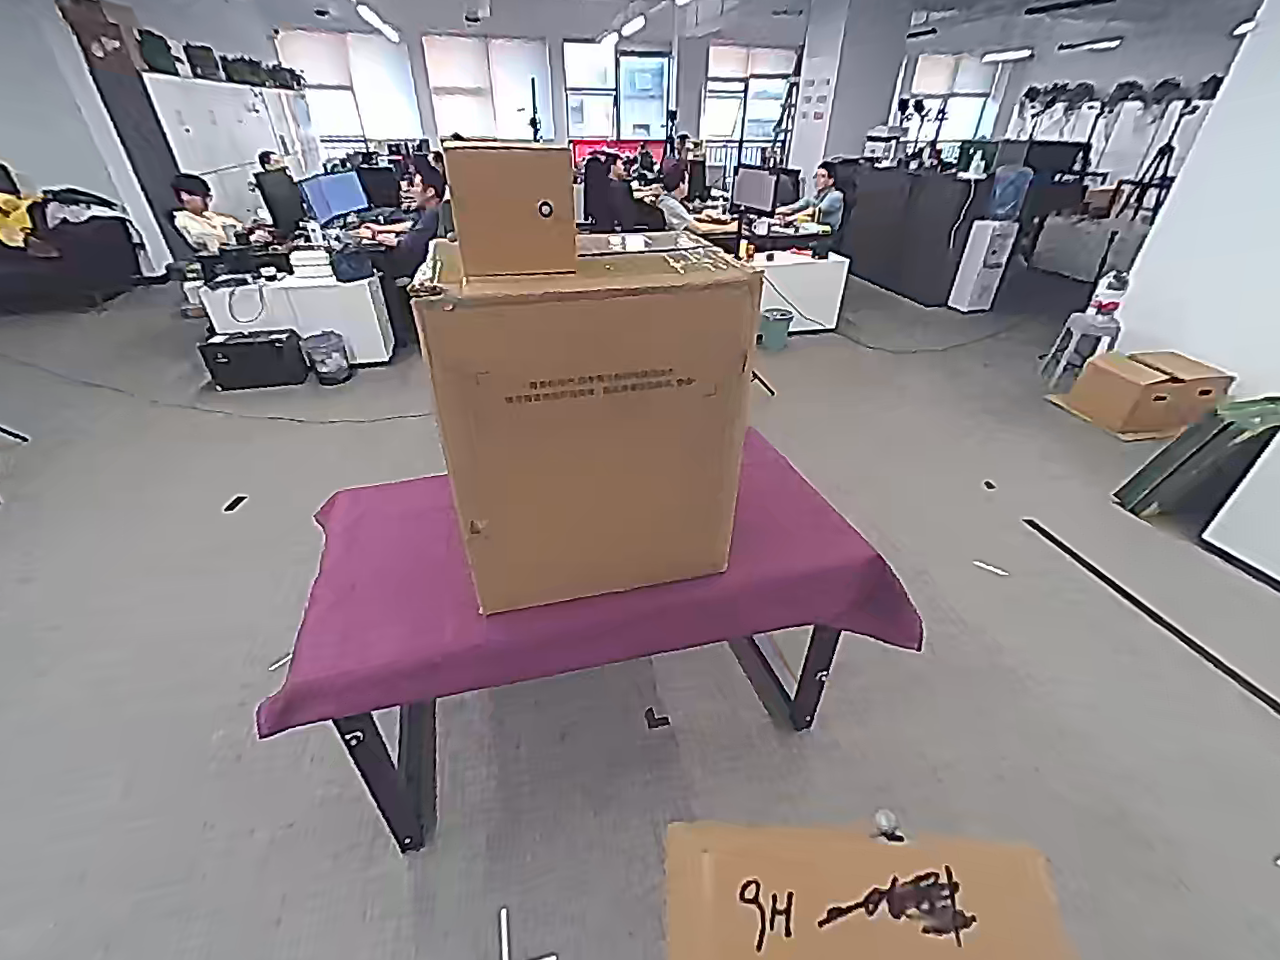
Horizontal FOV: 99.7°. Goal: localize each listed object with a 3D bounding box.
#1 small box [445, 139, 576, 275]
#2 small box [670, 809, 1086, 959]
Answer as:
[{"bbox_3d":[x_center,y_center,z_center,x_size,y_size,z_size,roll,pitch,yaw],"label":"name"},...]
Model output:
[{"bbox_3d":[-0.196,-0.426,0.841,0.179,0.176,0.168,-9,34,-13],"label":"small box"},{"bbox_3d":[0.106,0.278,0.281,0.168,0.176,0.179,2,60,-3],"label":"small box"}]
